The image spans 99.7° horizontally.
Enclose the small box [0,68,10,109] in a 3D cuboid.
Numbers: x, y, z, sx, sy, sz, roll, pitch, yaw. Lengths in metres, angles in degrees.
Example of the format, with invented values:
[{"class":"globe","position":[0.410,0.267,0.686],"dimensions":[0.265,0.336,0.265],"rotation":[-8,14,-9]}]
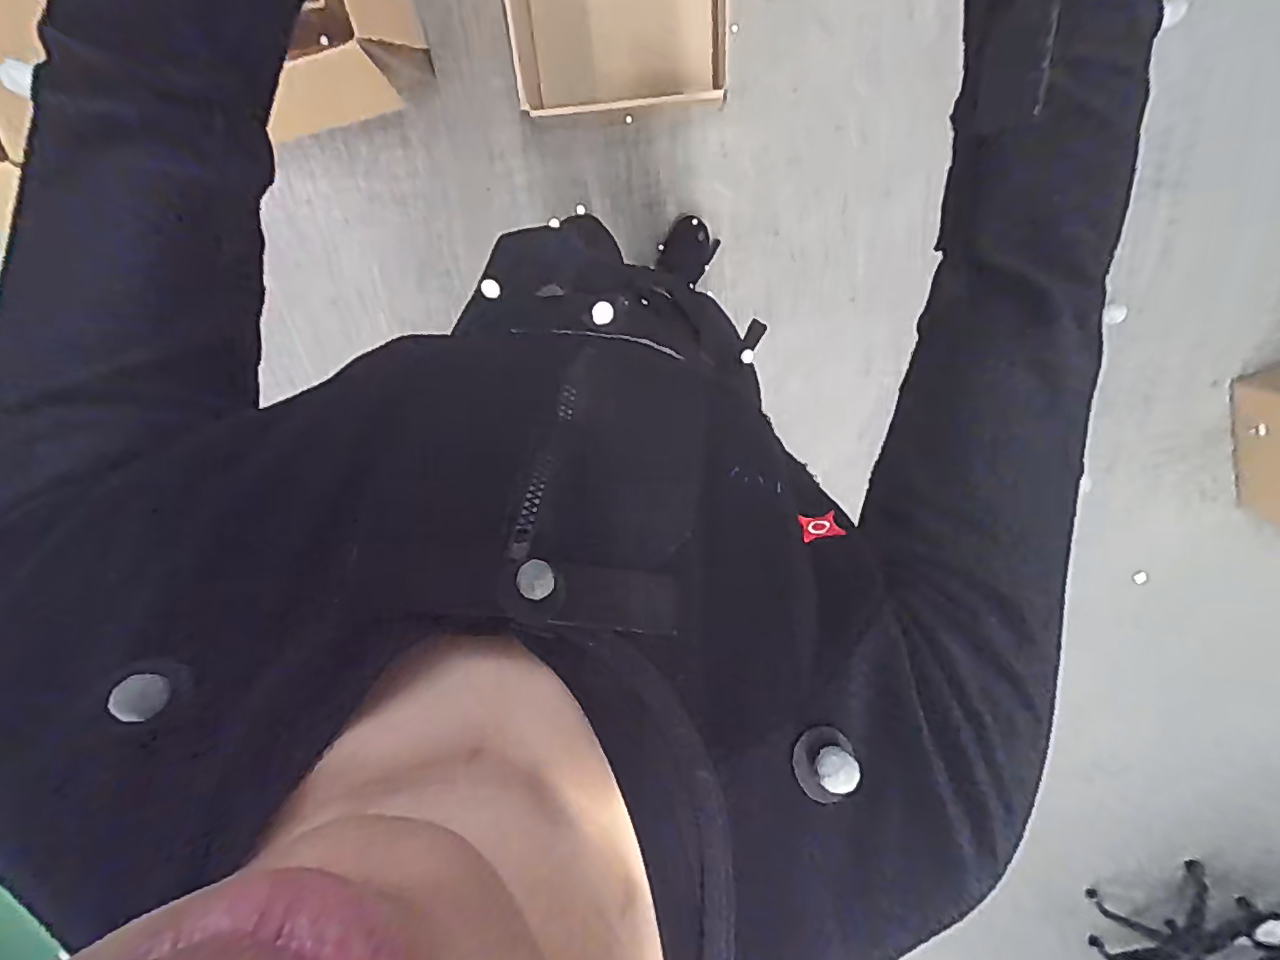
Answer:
[{"class":"small box","position":[-1.318,-0.777,0.970],"dimensions":[0.179,0.176,0.168],"rotation":[-2,115,3]}]
